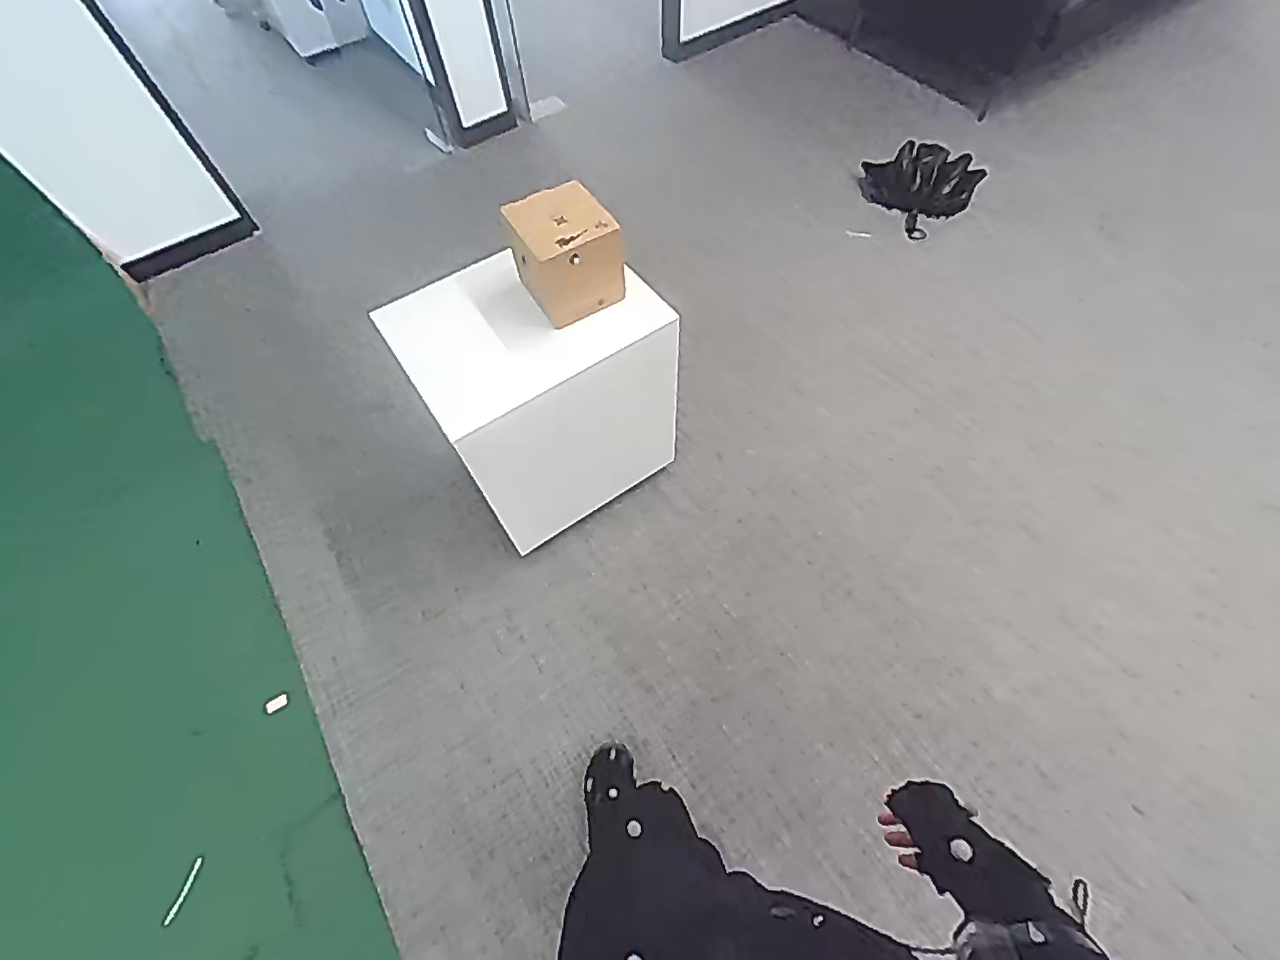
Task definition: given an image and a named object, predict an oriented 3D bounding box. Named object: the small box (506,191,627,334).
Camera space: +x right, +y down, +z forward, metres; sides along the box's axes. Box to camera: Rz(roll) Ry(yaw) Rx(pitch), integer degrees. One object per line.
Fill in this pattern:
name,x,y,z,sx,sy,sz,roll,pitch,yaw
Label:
small box,-0.140,-0.426,1.070,0.168,0.176,0.179,-29,63,-12
